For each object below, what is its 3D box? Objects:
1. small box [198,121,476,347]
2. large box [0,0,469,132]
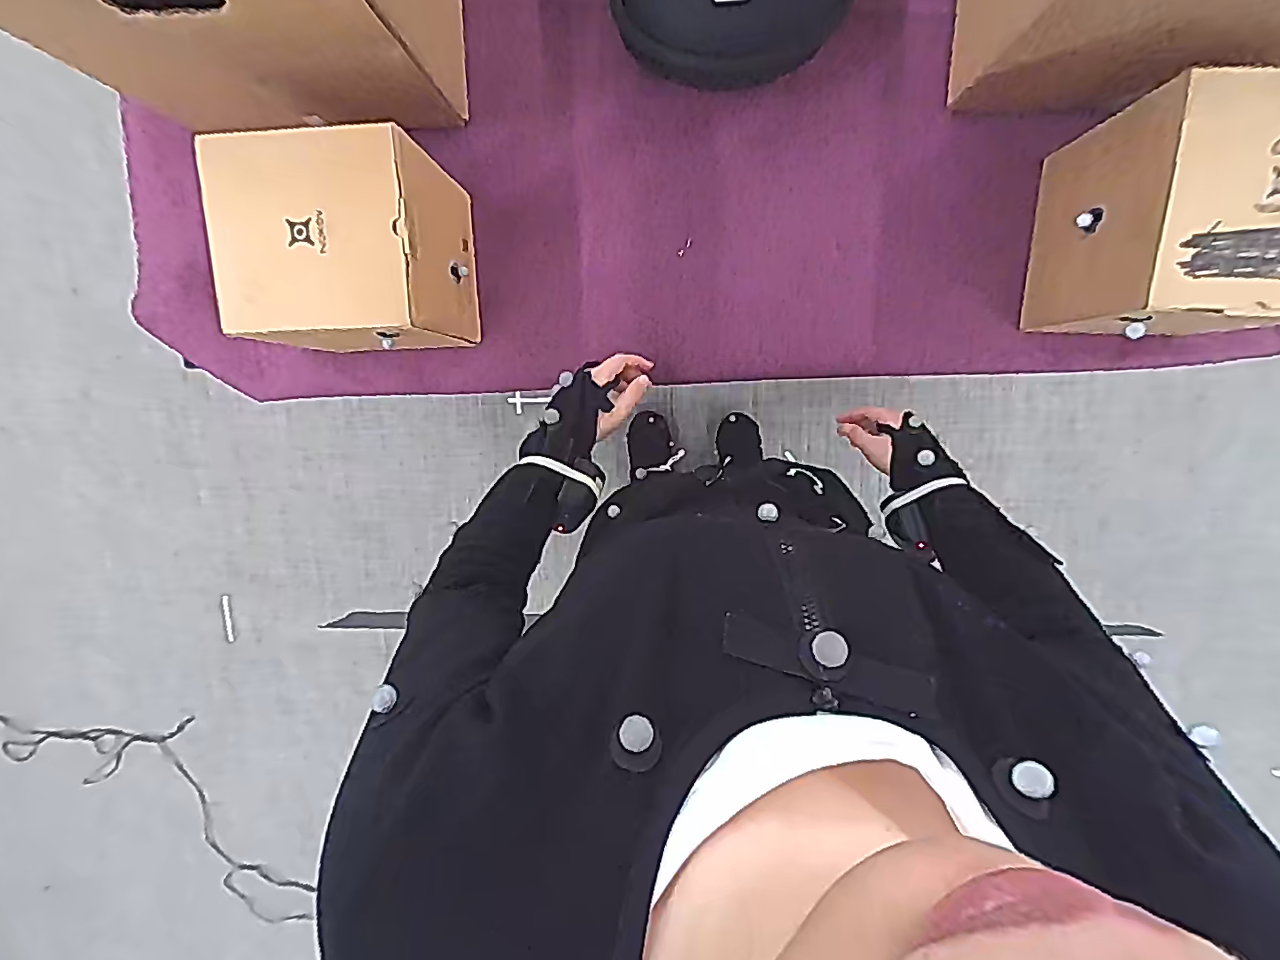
[{"bbox_3d":[-0.286,-0.229,0.548,0.179,0.176,0.168,-2,99,3],"label":"small box"},{"bbox_3d":[-0.347,-0.556,0.420,0.320,0.320,0.408,-1,103,3],"label":"large box"}]
